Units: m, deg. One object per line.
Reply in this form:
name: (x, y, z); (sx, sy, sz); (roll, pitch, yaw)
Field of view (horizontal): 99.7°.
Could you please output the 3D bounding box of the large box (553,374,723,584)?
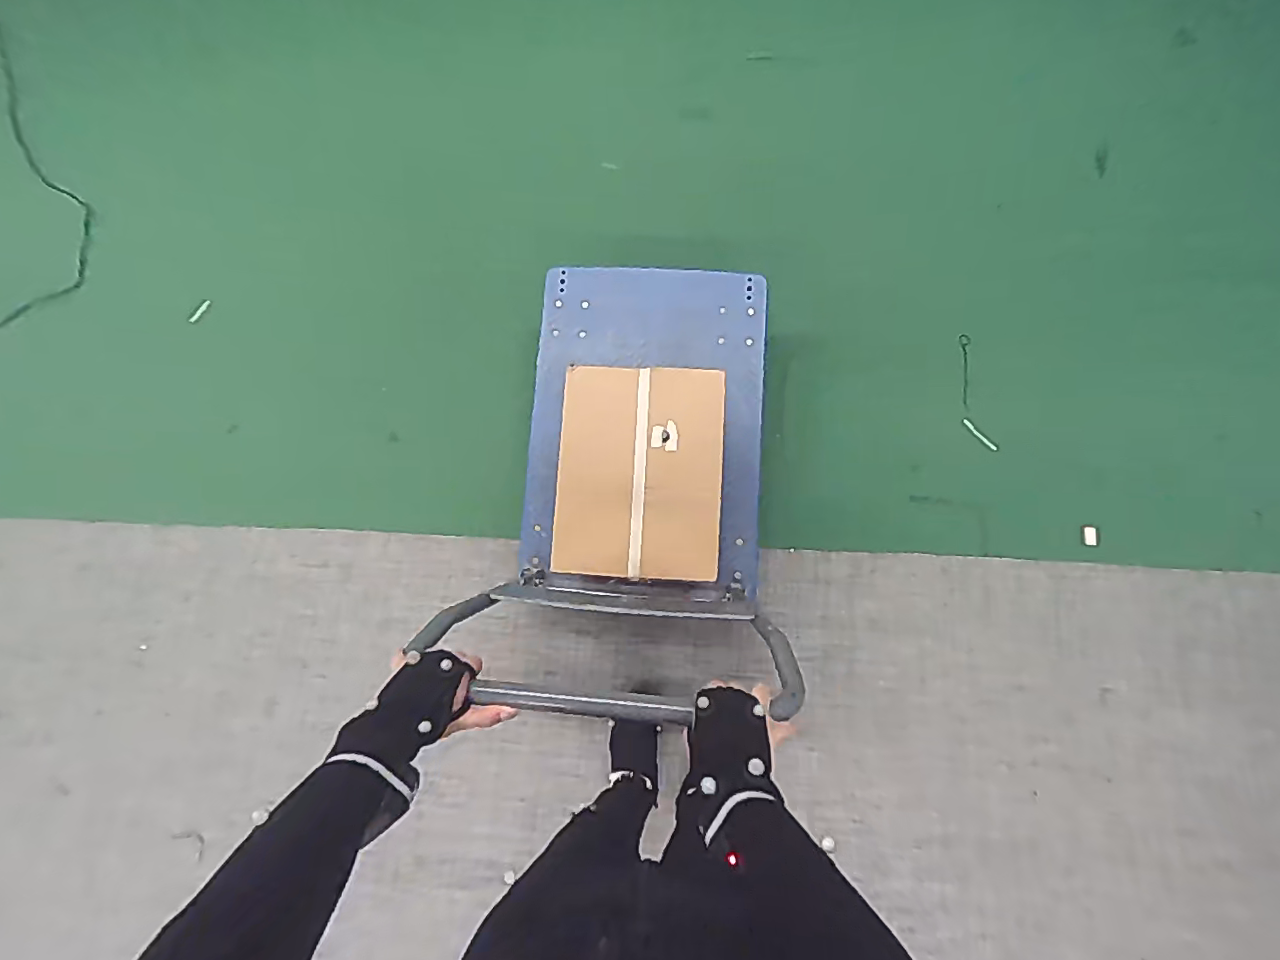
large box: (0.010, 0.014, 1.177); (0.320, 0.320, 0.408); (3, 82, 4)
